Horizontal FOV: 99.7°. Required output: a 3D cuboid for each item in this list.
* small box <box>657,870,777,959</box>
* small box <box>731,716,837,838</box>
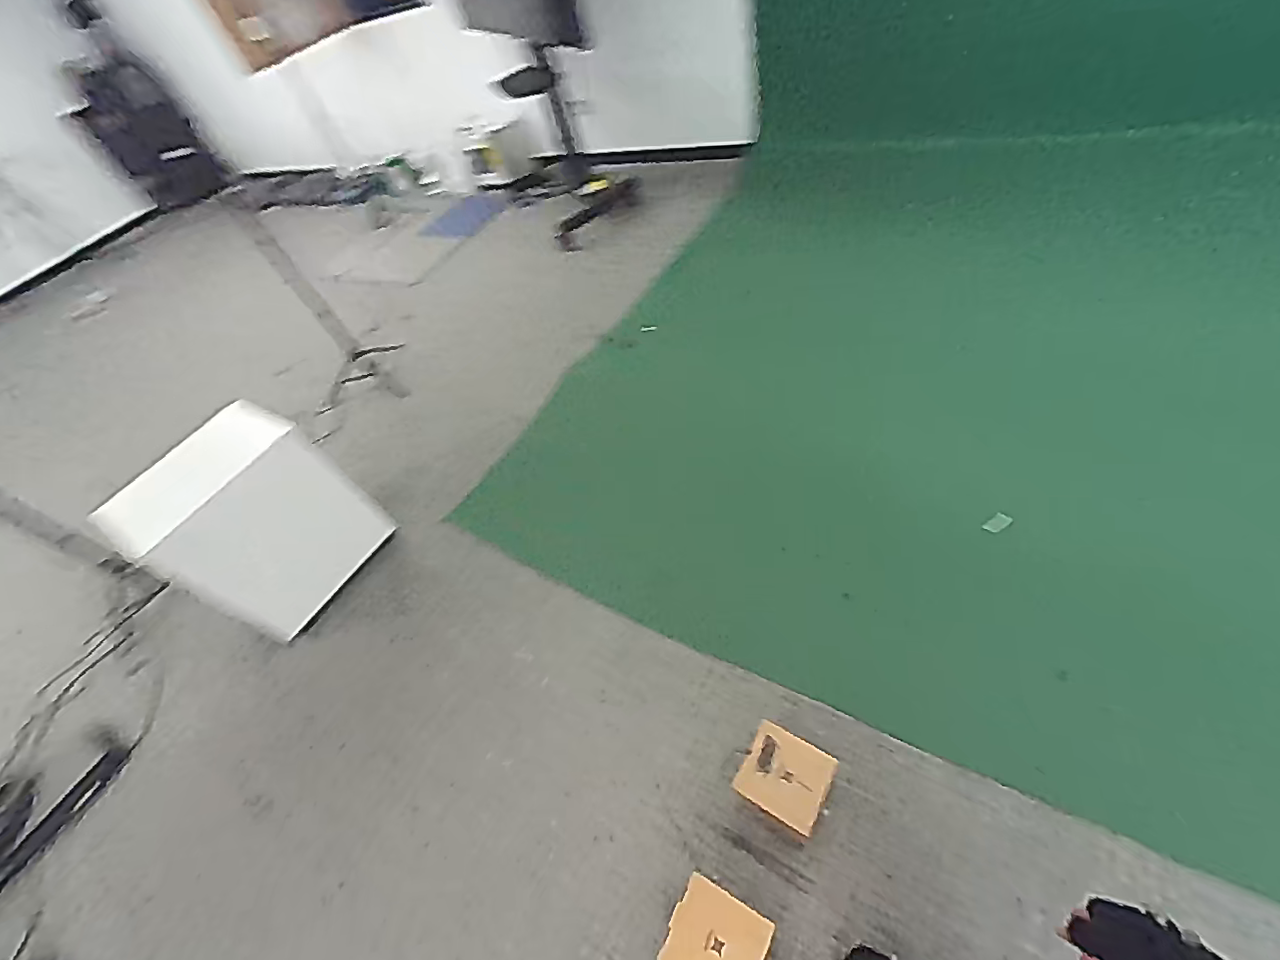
[{"bbox_3d":[0.161,0.910,1.067,0.179,0.176,0.168,16,57,29],"label":"small box"},{"bbox_3d":[0.325,0.671,1.216,0.179,0.176,0.168,20,60,30],"label":"small box"}]
